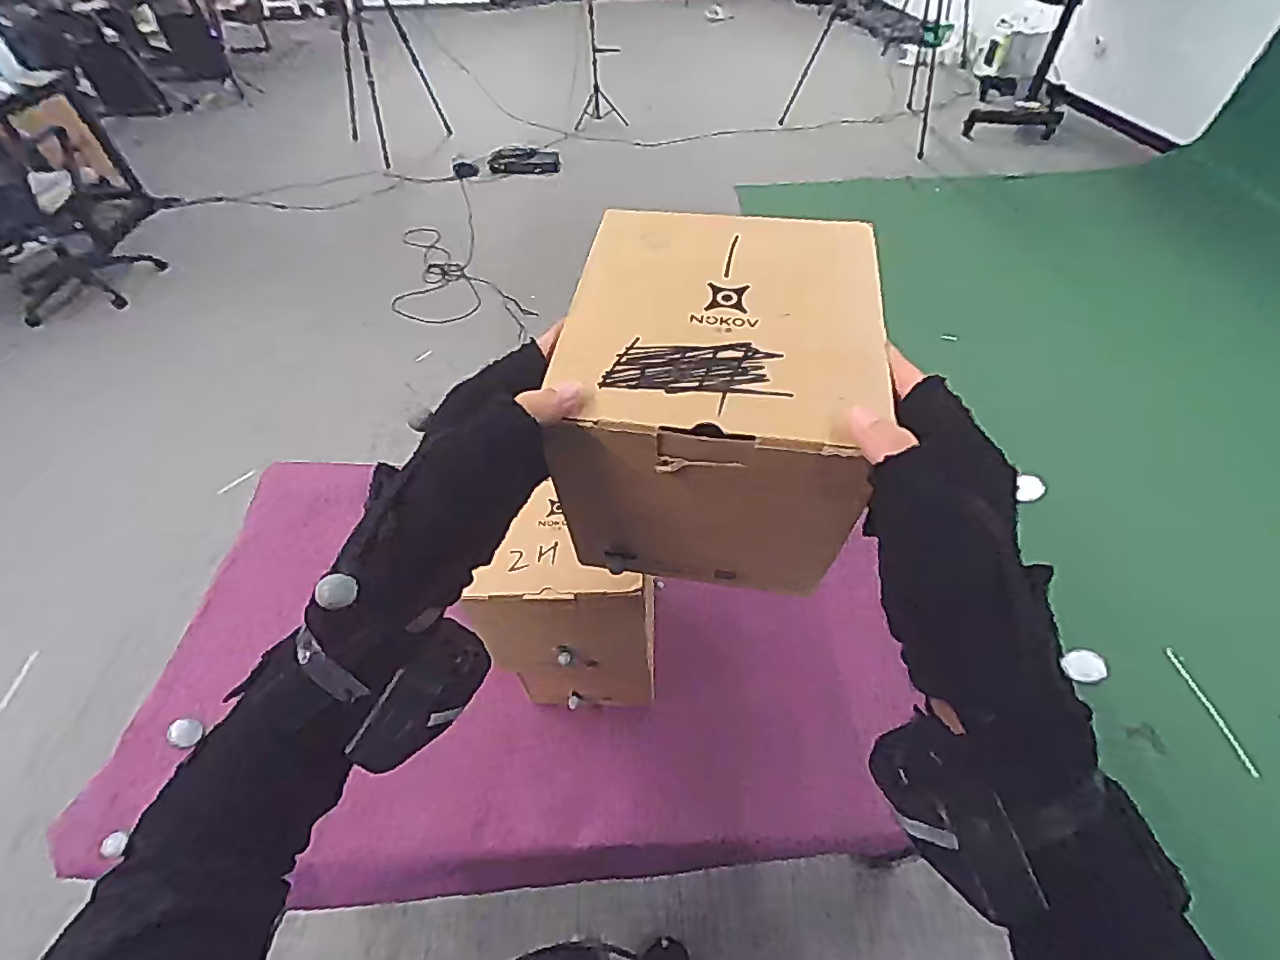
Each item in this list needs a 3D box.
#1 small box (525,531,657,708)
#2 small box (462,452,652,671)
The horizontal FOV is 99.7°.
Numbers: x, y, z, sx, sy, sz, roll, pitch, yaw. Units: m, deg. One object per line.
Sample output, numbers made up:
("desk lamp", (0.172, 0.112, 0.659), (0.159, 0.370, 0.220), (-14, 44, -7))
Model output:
("small box", (-0.063, 0.184, 0.720), (0.168, 0.176, 0.179), (0, 49, 3))
("small box", (-0.073, 0.089, 0.586), (0.168, 0.176, 0.179), (-2, 49, 2))
